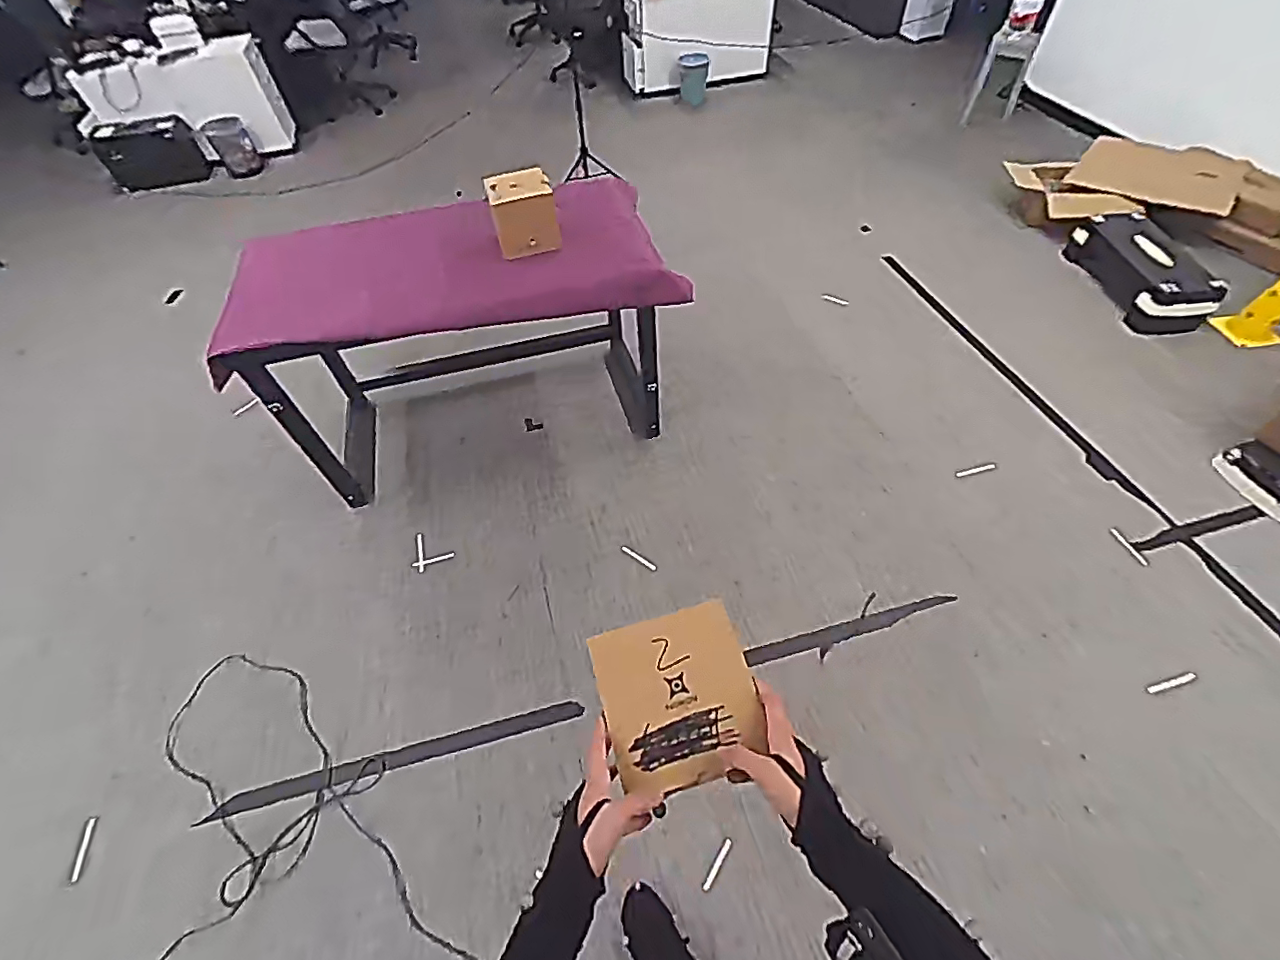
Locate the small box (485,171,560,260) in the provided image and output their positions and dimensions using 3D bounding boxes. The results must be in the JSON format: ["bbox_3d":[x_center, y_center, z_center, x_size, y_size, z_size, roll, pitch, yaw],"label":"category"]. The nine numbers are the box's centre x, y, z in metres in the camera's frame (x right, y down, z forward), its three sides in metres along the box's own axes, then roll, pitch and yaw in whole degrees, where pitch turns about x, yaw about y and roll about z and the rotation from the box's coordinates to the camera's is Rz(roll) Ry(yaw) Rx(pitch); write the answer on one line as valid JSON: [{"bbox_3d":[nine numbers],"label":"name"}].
[{"bbox_3d":[-0.340,-0.777,1.594,0.179,0.176,0.168,-16,53,-9],"label":"small box"}]
